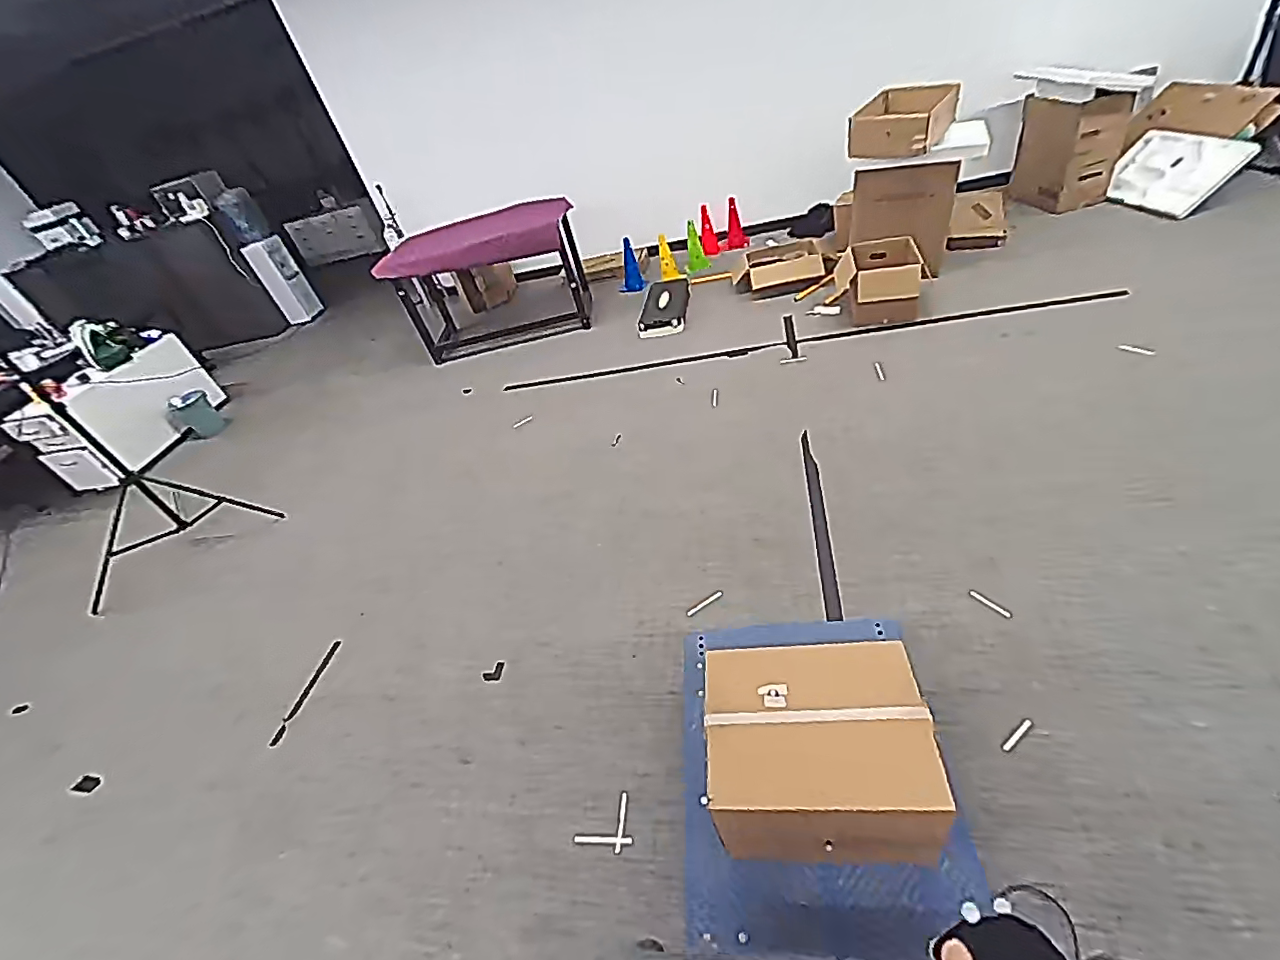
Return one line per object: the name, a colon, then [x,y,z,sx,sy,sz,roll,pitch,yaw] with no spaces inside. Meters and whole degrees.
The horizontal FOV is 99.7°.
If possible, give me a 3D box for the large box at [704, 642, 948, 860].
large box: [0.362,0.573,1.131,0.408,0.320,0.320,-9,39,12]
